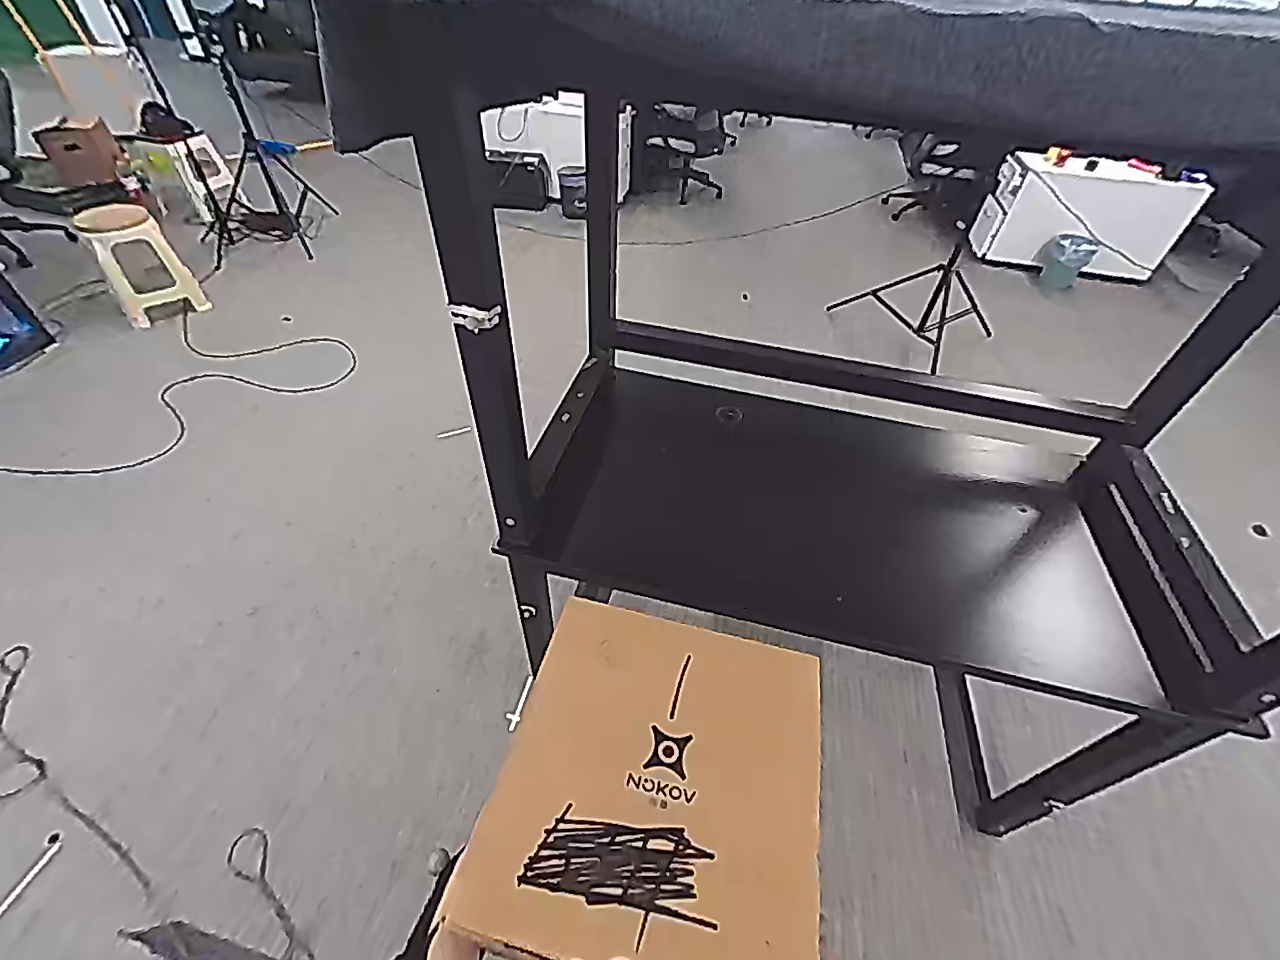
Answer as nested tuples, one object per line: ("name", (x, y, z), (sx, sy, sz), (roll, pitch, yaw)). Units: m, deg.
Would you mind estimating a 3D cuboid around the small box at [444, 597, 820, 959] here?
("small box", (0.007, 0.208, 0.342), (0.168, 0.176, 0.179), (12, 45, 7))
